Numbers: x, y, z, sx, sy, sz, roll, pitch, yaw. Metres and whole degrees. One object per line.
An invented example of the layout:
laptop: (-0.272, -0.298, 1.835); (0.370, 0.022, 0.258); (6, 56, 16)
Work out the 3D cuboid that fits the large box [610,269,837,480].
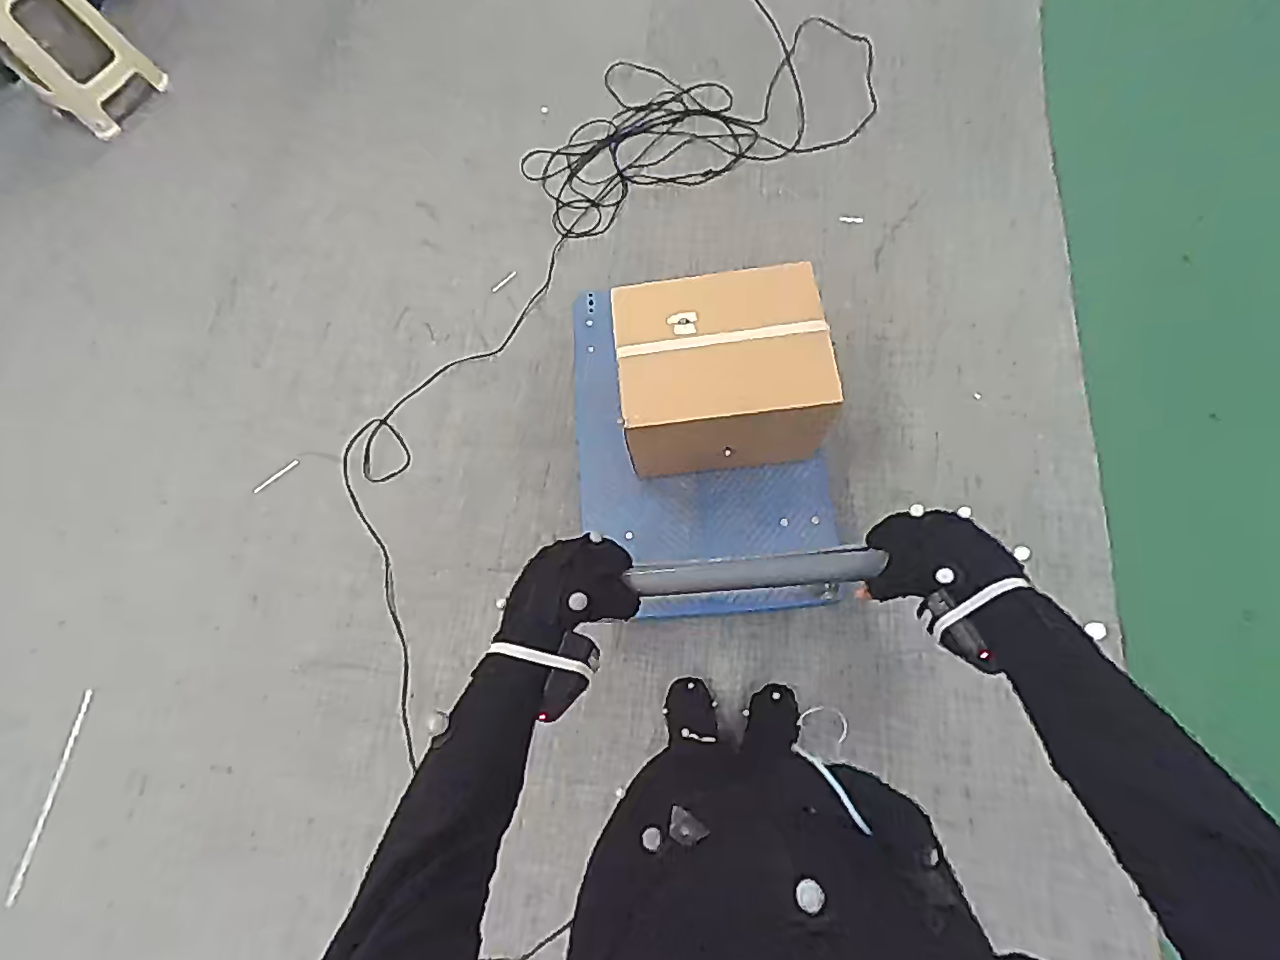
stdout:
large box: (0.169, -0.209, 1.190); (0.408, 0.320, 0.320); (-8, 71, 5)
